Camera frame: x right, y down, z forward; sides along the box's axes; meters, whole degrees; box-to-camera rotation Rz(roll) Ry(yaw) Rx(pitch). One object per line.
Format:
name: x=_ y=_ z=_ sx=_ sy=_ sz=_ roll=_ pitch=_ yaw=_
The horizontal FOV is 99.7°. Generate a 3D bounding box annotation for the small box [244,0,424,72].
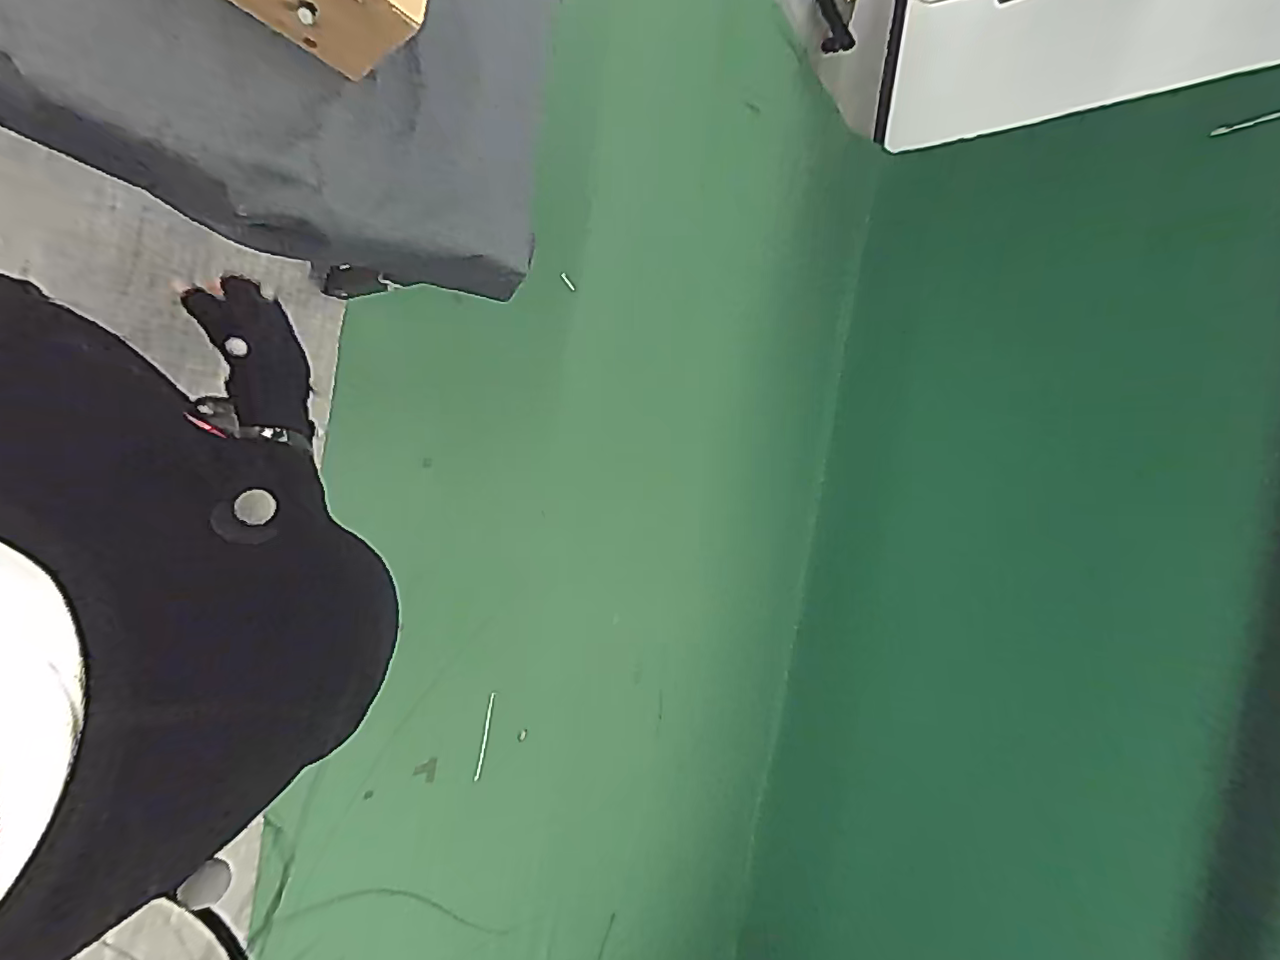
small box: x=-0.333 y=-0.583 z=0.567 sx=0.168 sy=0.176 sz=0.179 roll=9 pitch=92 yaw=-50
